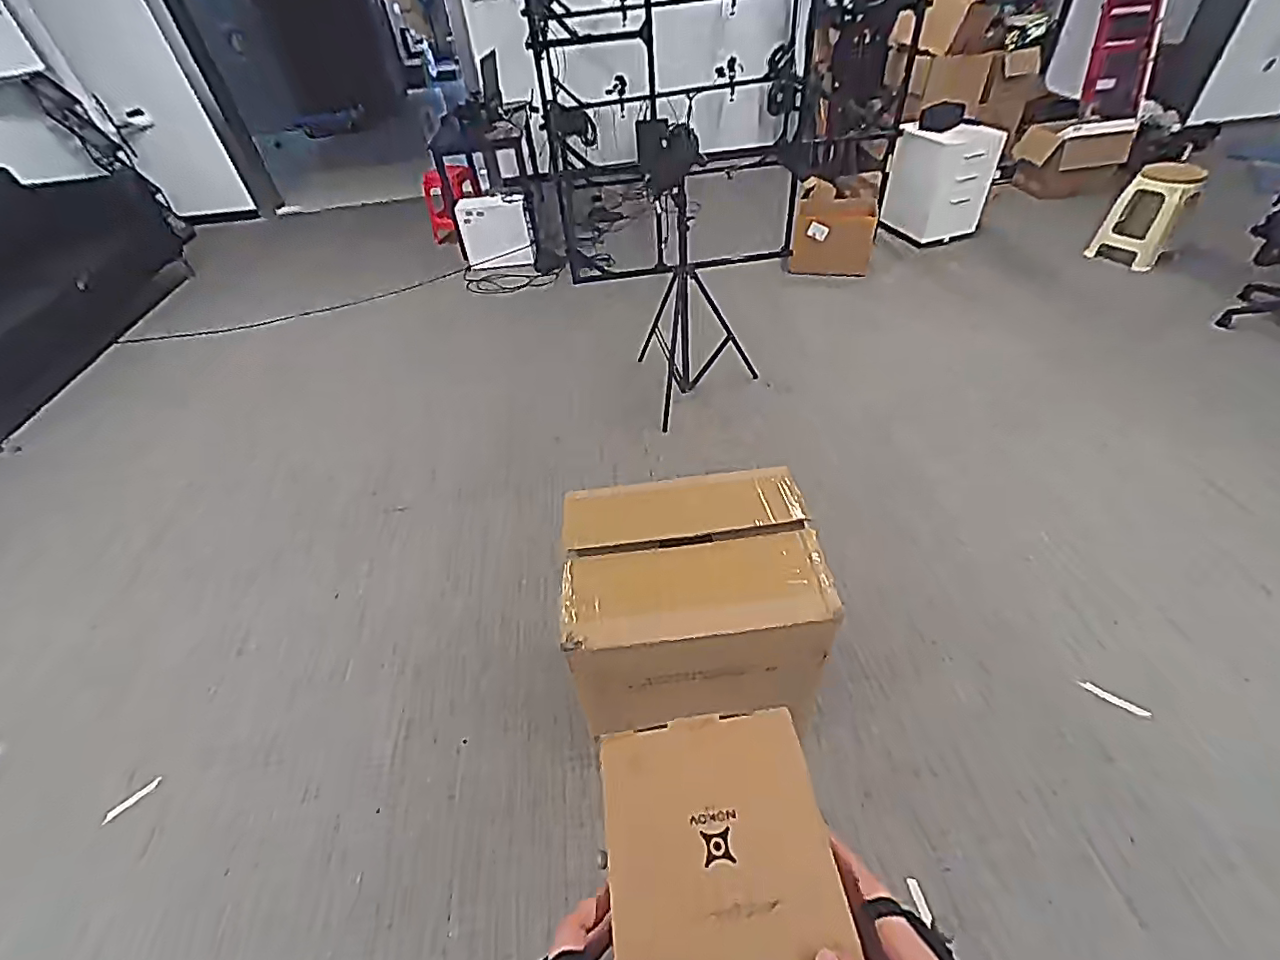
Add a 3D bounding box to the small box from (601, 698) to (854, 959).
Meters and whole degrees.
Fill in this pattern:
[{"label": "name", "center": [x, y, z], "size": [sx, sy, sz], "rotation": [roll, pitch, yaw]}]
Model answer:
[{"label": "small box", "center": [0.059, 0.318, 0.473], "size": [0.168, 0.176, 0.179], "rotation": [-8, 48, -1]}]
